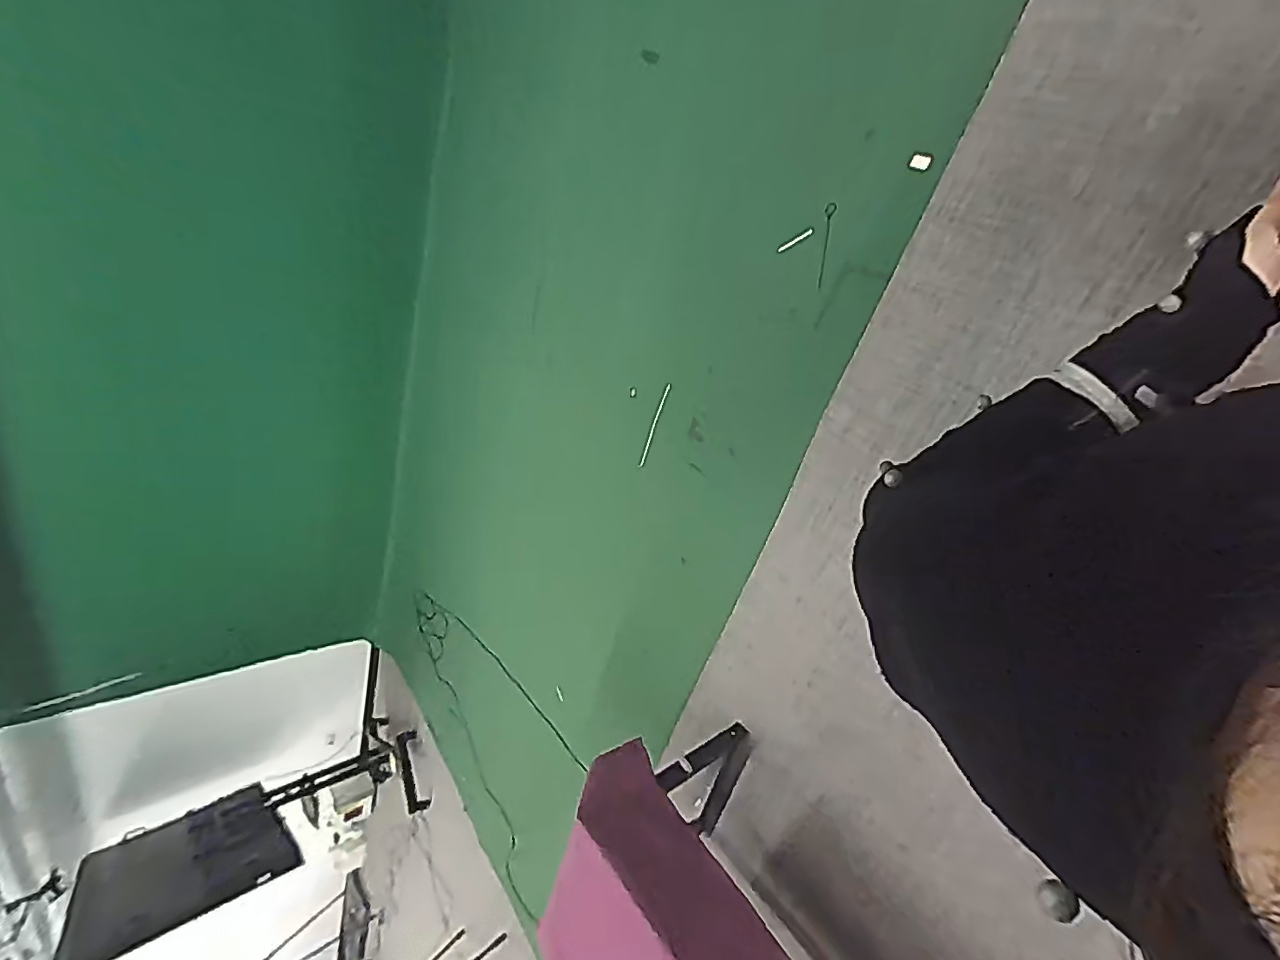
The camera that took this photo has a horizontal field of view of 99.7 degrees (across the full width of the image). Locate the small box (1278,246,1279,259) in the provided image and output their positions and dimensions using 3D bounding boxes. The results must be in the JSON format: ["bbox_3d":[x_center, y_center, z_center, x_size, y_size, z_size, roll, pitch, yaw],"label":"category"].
[{"bbox_3d":[0.508,-0.220,0.303,0.168,0.176,0.179,15,111,47],"label":"small box"}]
